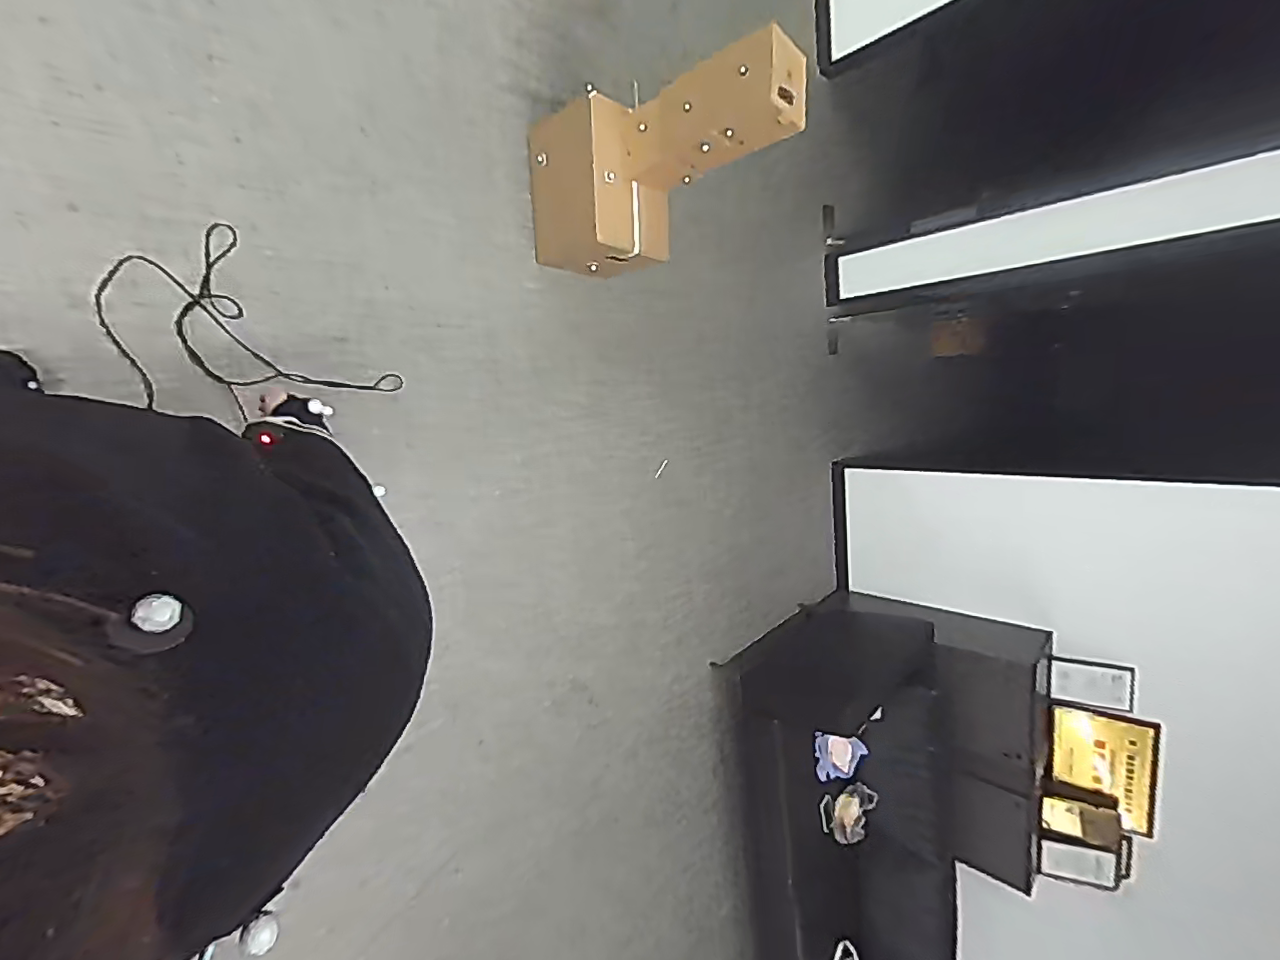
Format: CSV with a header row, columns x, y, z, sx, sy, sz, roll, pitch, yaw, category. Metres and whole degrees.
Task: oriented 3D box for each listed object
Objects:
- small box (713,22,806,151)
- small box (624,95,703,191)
x,y,z,sx,sy,sz,roll,pitch,yaw,category
0.294,-0.961,1.344,0.168,0.176,0.179,-4,95,-46,small box
0.064,-0.972,1.579,0.179,0.176,0.168,-9,100,-45,small box
